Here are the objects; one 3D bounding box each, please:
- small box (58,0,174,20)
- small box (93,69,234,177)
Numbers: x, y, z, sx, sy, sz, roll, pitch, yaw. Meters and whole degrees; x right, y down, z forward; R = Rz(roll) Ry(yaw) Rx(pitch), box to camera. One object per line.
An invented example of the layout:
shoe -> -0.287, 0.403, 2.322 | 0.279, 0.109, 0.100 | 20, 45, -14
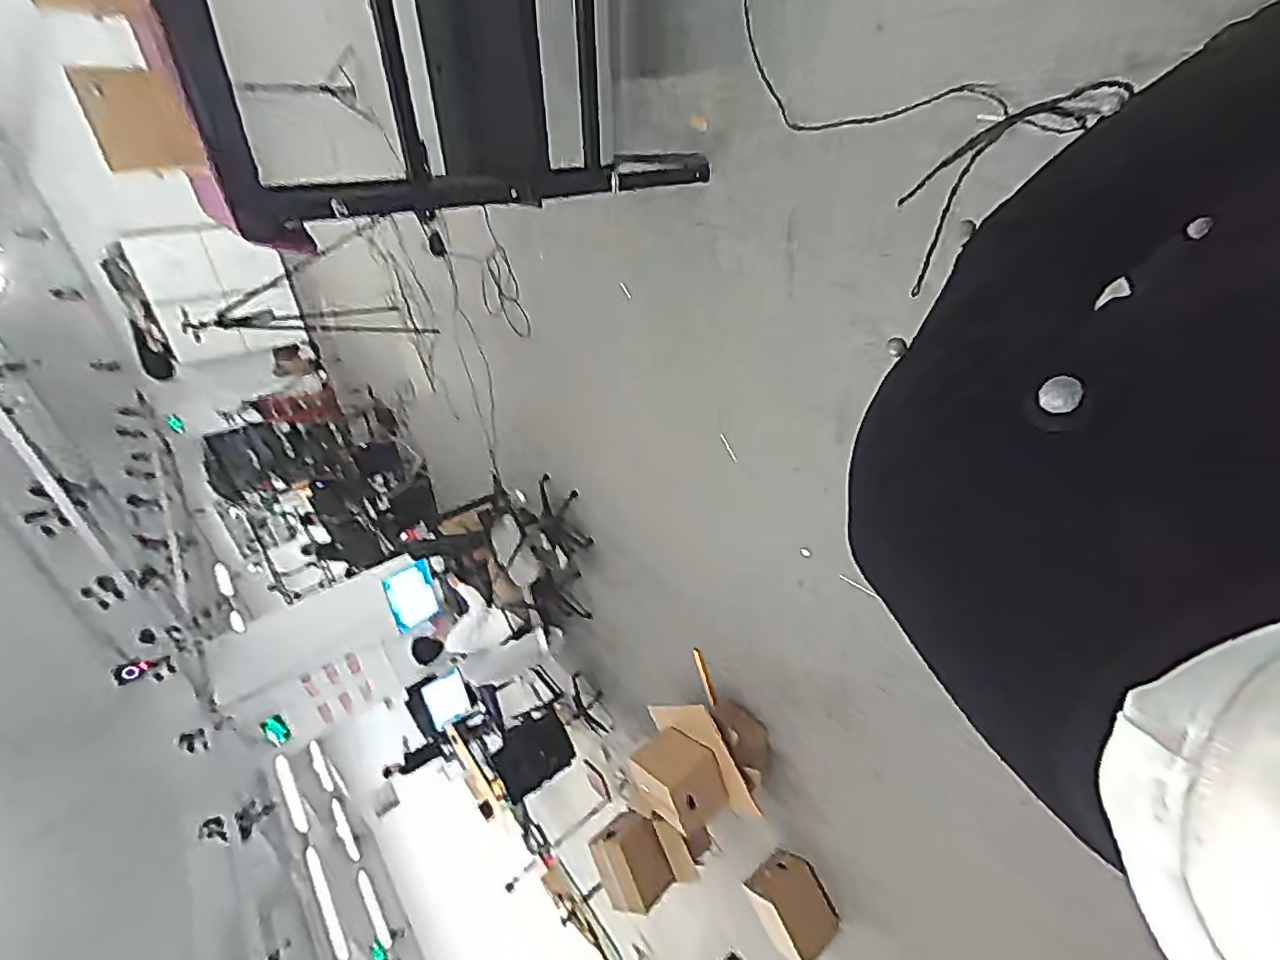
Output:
small box -> -0.998, -0.964, 0.992 | 0.168, 0.176, 0.179 | 35, 138, 40
small box -> -0.988, -0.744, 1.135 | 0.168, 0.176, 0.179 | 31, 134, 43
